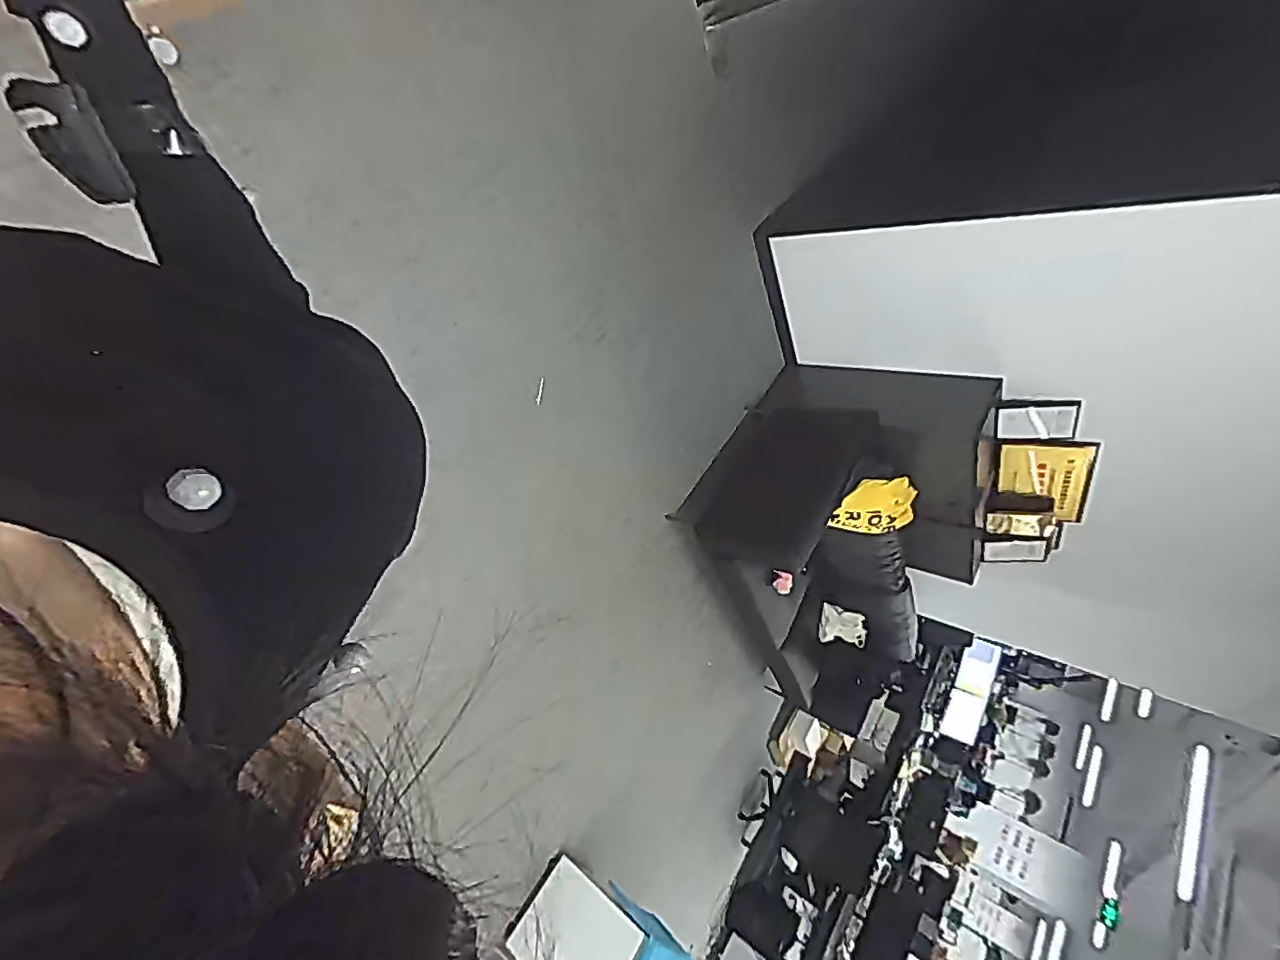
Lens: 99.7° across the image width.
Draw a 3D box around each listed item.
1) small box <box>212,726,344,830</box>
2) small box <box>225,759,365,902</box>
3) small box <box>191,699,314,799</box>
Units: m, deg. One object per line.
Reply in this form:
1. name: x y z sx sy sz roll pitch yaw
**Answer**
1. small box: -0.845 0.709 1.258 0.179 0.176 0.168 -53 134 -24
2. small box: -0.732 0.735 1.142 0.179 0.176 0.168 -54 136 -23
3. small box: -0.973 0.684 1.358 0.179 0.176 0.168 -53 135 -24
